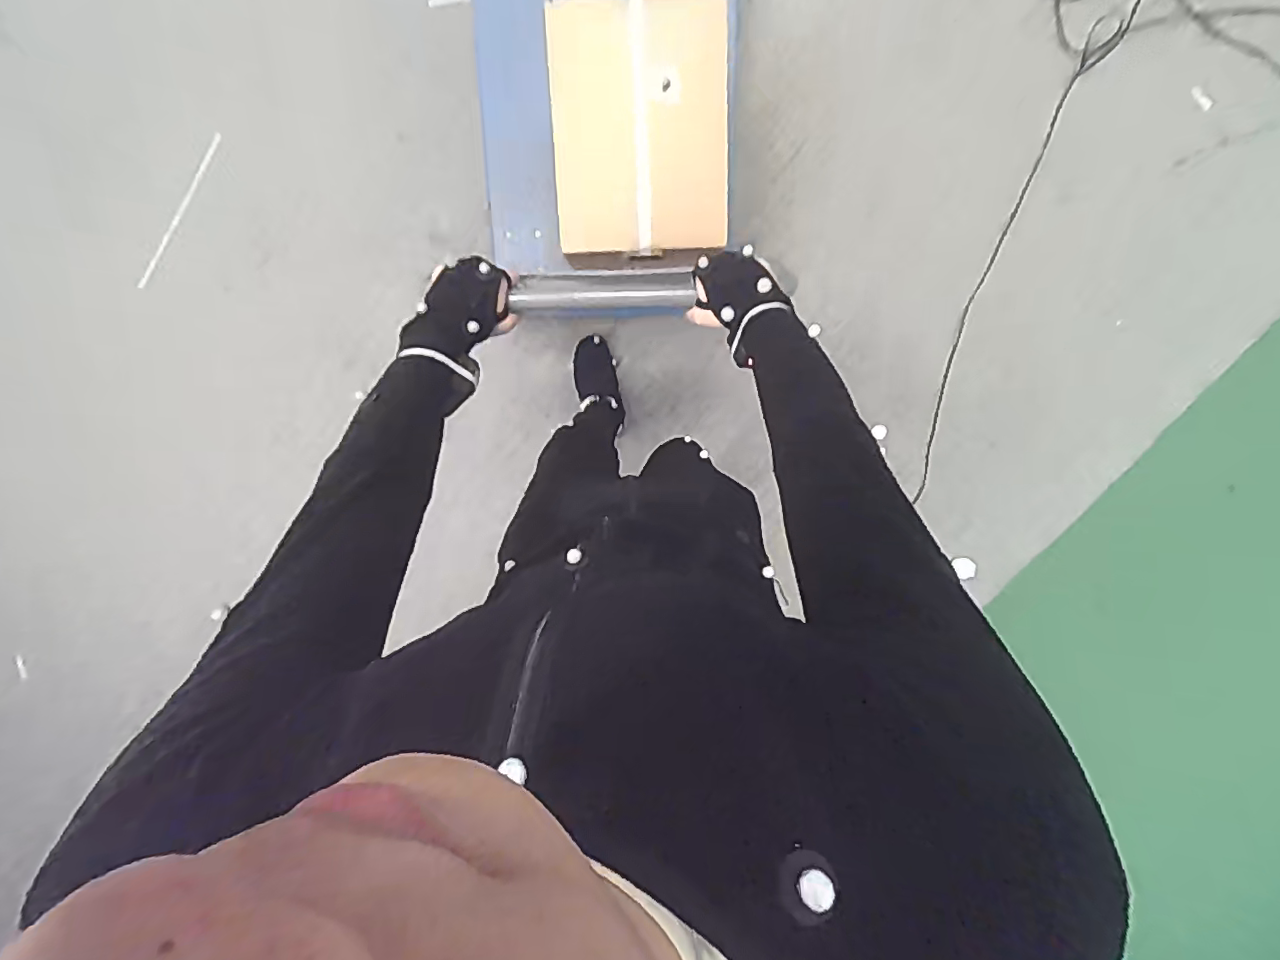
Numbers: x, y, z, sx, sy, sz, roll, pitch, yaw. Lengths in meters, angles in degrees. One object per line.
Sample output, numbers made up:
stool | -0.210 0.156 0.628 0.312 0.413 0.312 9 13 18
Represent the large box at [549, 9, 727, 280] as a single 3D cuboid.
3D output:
large box | 0.002 -0.656 1.133 0.320 0.320 0.408 -2 103 -1
